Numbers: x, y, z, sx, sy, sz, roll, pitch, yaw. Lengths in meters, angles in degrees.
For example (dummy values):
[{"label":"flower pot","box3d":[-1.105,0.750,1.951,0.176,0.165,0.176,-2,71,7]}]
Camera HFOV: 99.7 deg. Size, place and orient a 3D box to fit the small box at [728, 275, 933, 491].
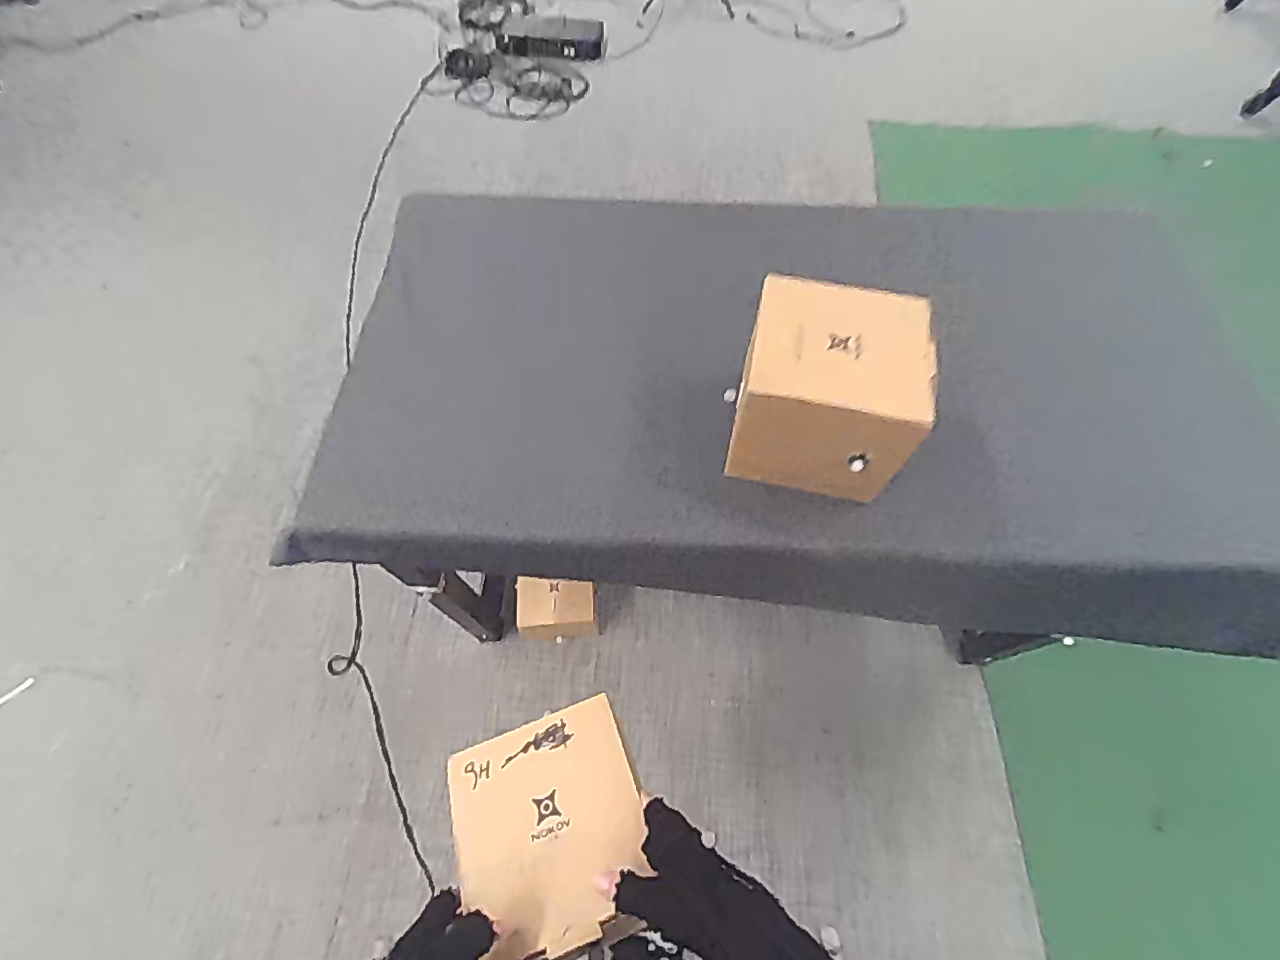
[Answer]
[{"label":"small box","box3d":[0.207,-0.102,0.621,0.179,0.176,0.168,10,61,7]}]
